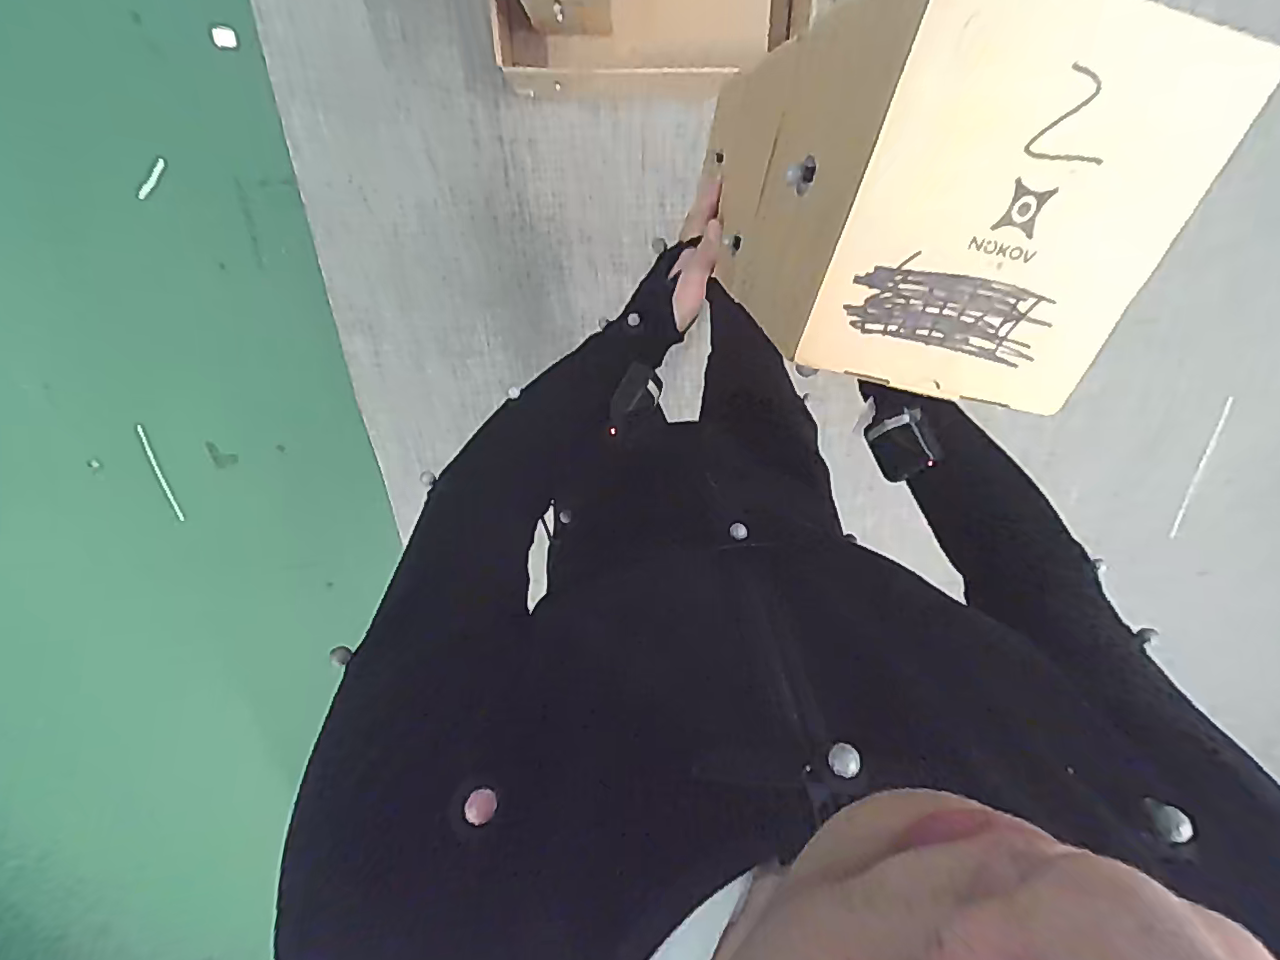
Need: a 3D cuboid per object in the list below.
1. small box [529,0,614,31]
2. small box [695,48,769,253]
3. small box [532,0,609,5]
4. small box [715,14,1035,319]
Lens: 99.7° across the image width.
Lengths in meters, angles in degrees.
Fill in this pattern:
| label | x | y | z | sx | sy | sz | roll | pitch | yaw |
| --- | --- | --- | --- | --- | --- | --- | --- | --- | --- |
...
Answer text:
| label | x | y | z | sx | sy | sz | roll | pitch | yaw |
| --- | --- | --- | --- | --- | --- | --- | --- | --- | --- |
| small box | -0.132 | -0.983 | 1.013 | 0.168 | 0.176 | 0.179 | 0 | 116 | -2 |
| small box | 0.165 | -0.343 | 0.603 | 0.168 | 0.176 | 0.179 | 8 | 121 | -7 |
| small box | -0.127 | -0.908 | 0.868 | 0.168 | 0.176 | 0.179 | 1 | 117 | -2 |
| small box | 0.170 | -0.259 | 0.465 | 0.168 | 0.176 | 0.179 | 6 | 123 | -7 |
